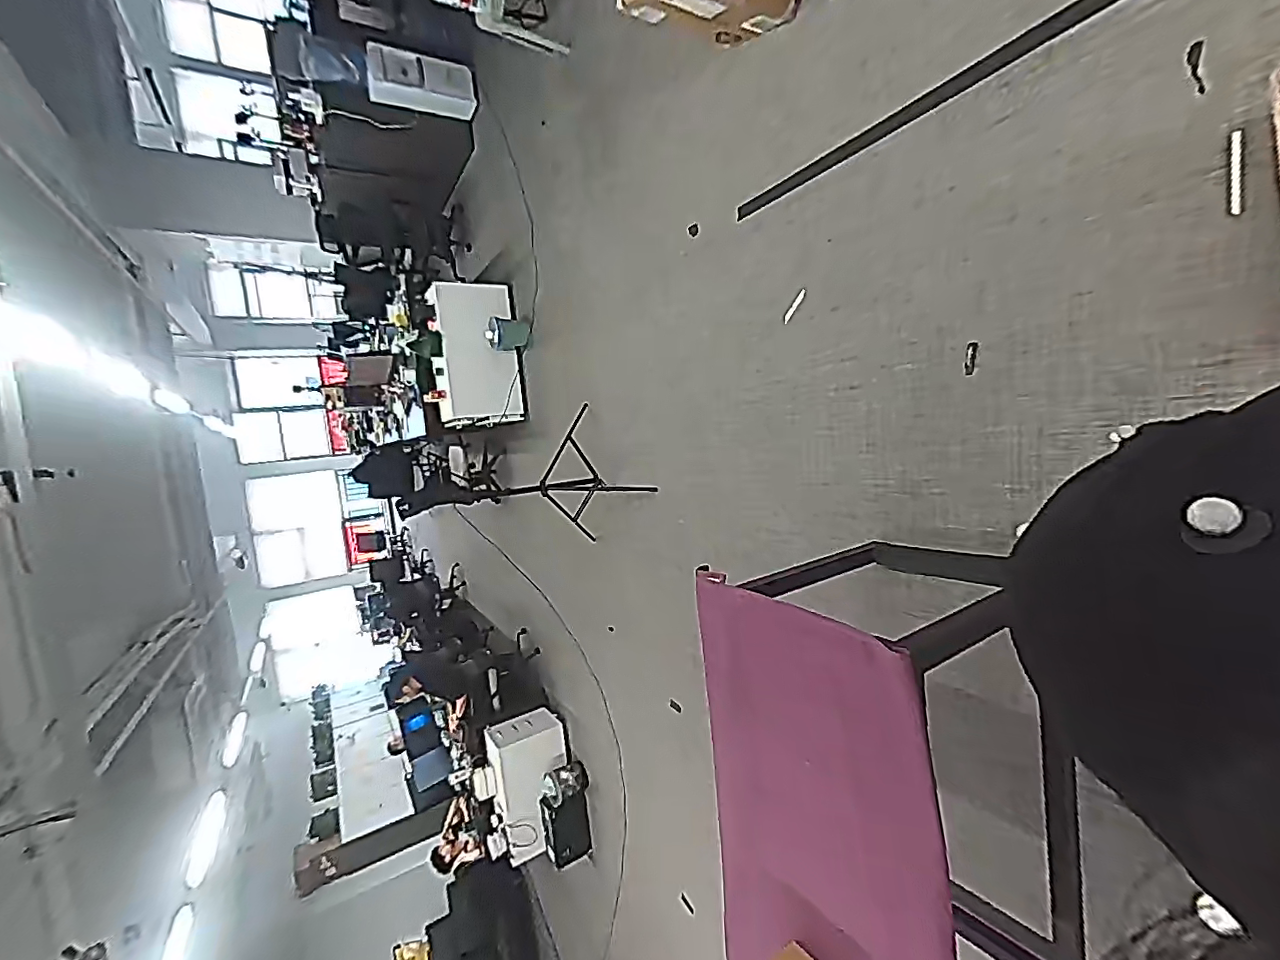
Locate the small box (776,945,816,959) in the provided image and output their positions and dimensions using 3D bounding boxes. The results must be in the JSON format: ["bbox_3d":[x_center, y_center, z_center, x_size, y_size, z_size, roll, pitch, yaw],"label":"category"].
[{"bbox_3d":[0.355,1.183,1.178,0.179,0.176,0.168,2,99,59],"label":"small box"}]
